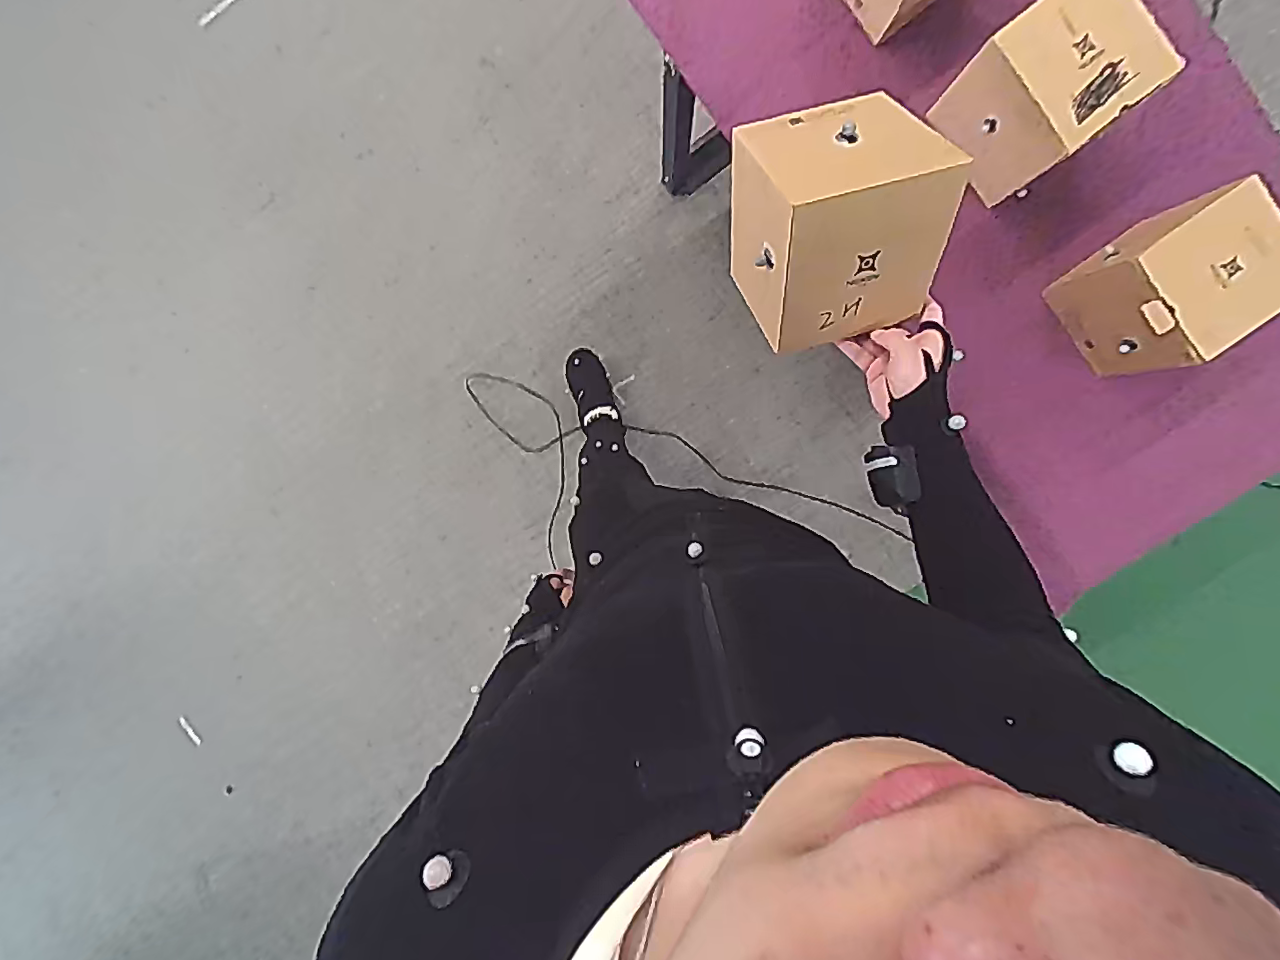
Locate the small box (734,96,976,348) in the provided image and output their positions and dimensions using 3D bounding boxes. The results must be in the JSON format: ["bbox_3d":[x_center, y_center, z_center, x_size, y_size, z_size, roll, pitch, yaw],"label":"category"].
[{"bbox_3d":[0.203,-0.276,0.573,0.168,0.179,0.176,-14,54,-1],"label":"small box"}]

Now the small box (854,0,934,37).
[{"bbox_3d":[0.374,-0.758,0.718,0.179,0.176,0.168,-37,93,5],"label":"small box"}]

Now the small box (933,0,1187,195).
[{"bbox_3d":[0.546,-0.523,0.732,0.168,0.176,0.179,-37,91,5],"label":"small box"}]

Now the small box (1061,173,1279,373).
[{"bbox_3d":[0.738,-0.267,0.747,0.179,0.176,0.168,-36,93,4],"label":"small box"}]

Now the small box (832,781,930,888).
[{"bbox_3d":[0.694,1.023,1.583,0.168,0.176,0.179,-36,93,4],"label":"small box"}]
